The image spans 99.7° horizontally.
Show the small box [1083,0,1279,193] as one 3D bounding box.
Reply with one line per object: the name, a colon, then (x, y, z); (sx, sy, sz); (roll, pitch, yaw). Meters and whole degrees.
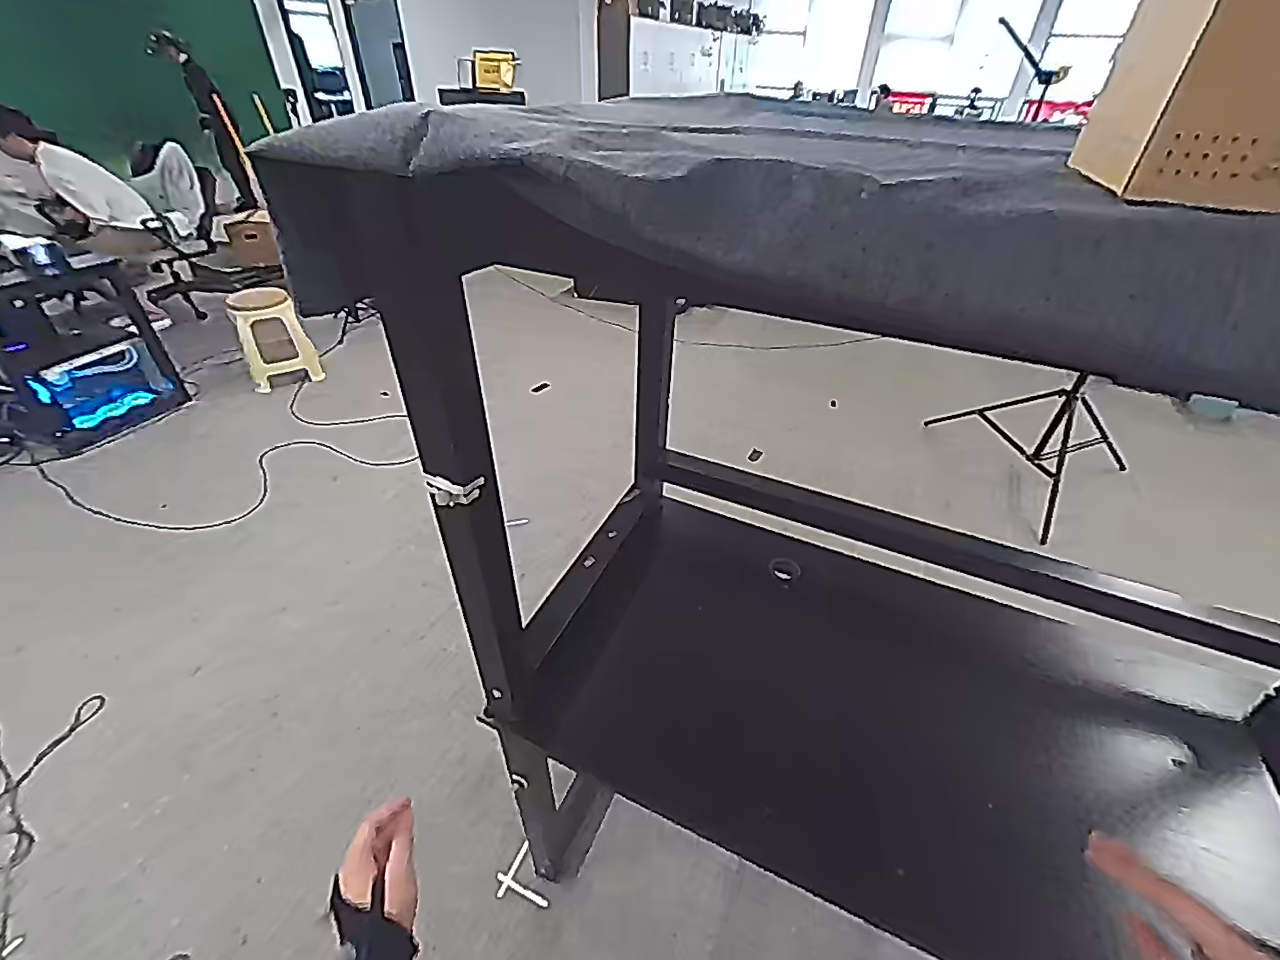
small box: (0.334, -0.221, 0.232); (0.168, 0.176, 0.179); (18, 38, 20)
